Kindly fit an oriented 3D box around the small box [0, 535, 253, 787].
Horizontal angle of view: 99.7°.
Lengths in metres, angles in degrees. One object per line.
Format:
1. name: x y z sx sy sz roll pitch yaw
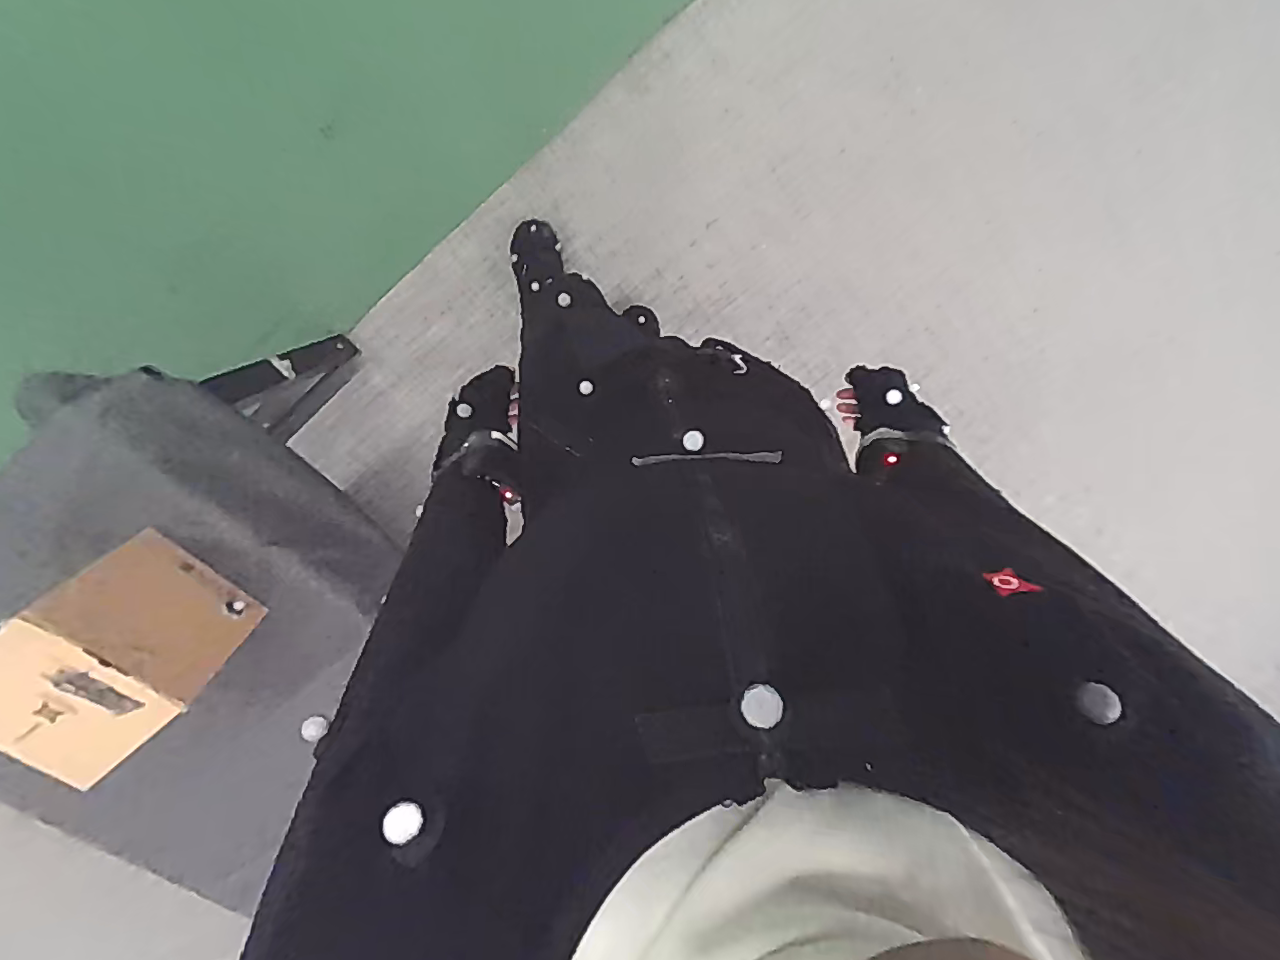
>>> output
1. small box: -0.590 0.194 0.613 0.179 0.176 0.168 -37 112 11
